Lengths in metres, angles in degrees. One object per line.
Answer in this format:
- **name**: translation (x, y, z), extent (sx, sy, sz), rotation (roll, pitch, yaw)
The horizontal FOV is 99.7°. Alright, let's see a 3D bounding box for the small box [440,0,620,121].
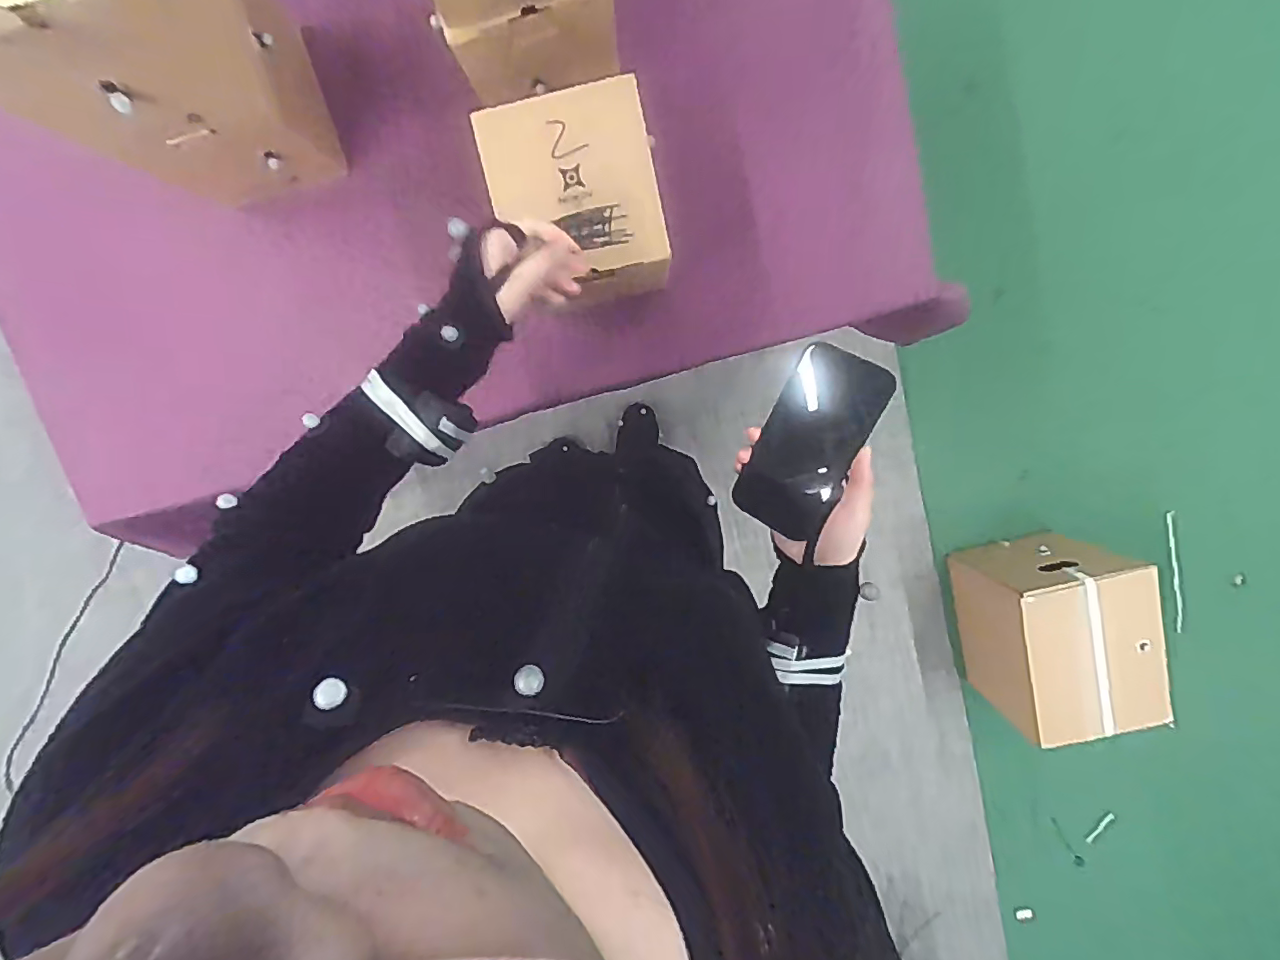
- **small box**: translation (-0.124, -0.532, 0.575), extent (0.168, 0.176, 0.179), rotation (-17, 101, 3)

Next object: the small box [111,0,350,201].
- **small box**: translation (-0.459, -0.431, 0.596), extent (0.168, 0.176, 0.179), rotation (-15, 100, 2)

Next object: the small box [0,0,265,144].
- **small box**: translation (-0.452, -0.402, 0.434), extent (0.168, 0.176, 0.179), rotation (-15, 100, 1)

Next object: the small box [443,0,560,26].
- **small box**: translation (-0.120, -0.510, 0.411), extent (0.168, 0.176, 0.179), rotation (-14, 101, 3)
